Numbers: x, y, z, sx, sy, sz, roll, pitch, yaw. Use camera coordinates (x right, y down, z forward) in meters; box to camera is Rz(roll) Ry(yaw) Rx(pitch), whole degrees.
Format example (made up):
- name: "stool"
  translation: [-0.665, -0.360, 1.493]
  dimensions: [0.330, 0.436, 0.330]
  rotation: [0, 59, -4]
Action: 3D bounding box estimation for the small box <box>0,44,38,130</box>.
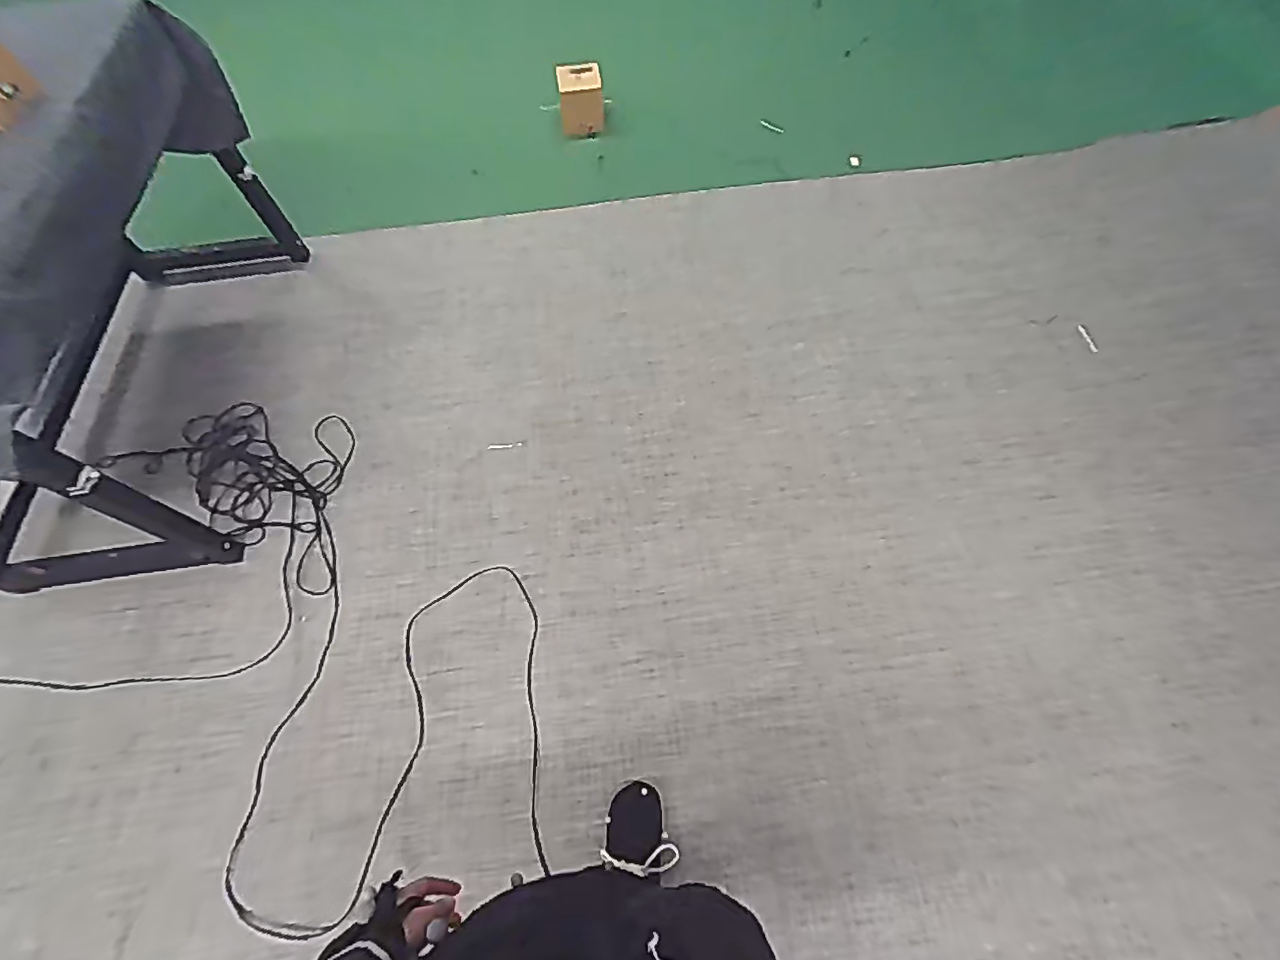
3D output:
- name: "small box"
  translation: [-1.318, -0.769, 1.007]
  dimensions: [0.179, 0.176, 0.168]
  rotation: [-7, 64, -1]
